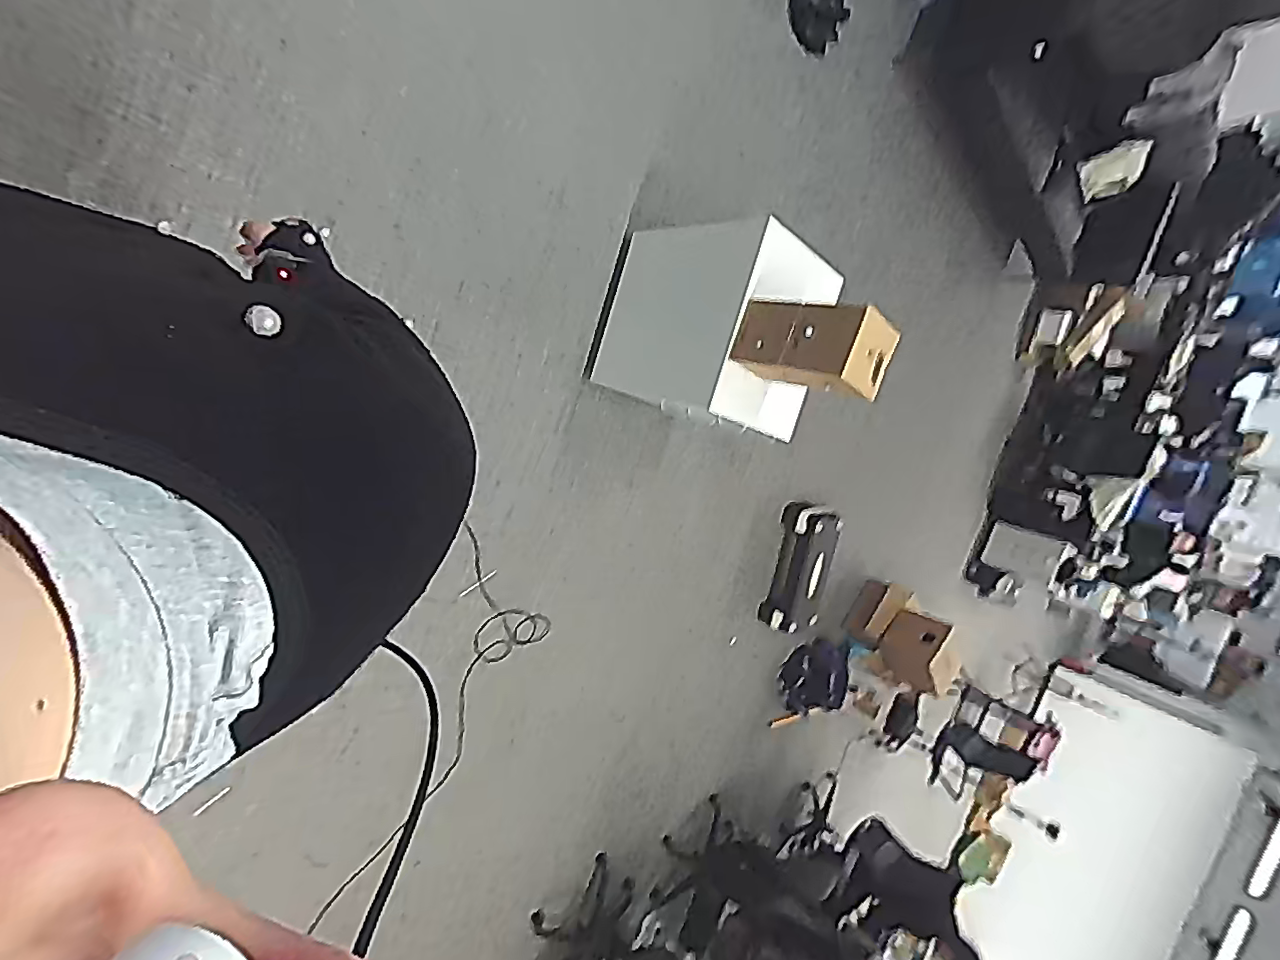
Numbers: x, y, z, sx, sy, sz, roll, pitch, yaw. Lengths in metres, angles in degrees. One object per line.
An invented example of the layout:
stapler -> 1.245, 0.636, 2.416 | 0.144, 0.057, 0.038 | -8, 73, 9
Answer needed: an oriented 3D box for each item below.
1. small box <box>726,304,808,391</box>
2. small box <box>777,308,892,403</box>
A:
small box -> 0.351, -0.343, 1.395 | 0.179, 0.176, 0.168 | 15, 96, -45
small box -> 0.457, -0.298, 1.277 | 0.179, 0.176, 0.168 | 16, 94, -43
